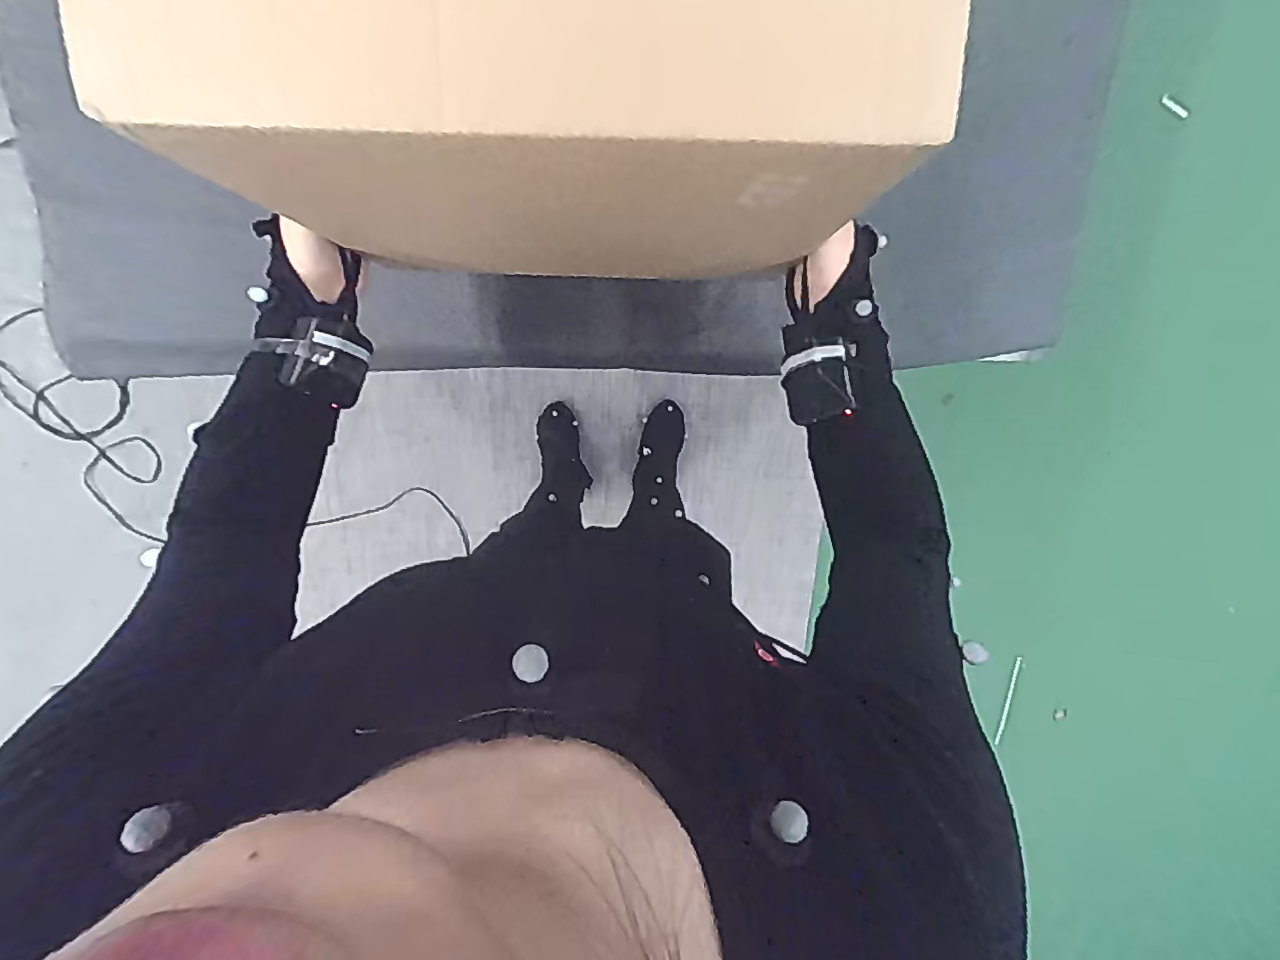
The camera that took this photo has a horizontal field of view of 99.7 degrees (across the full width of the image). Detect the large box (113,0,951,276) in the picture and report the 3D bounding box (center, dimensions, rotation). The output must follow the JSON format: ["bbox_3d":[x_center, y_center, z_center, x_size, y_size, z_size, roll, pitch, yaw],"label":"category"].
[{"bbox_3d":[-0.051,-0.341,0.390,0.408,0.320,0.320,1,100,-2],"label":"large box"}]
